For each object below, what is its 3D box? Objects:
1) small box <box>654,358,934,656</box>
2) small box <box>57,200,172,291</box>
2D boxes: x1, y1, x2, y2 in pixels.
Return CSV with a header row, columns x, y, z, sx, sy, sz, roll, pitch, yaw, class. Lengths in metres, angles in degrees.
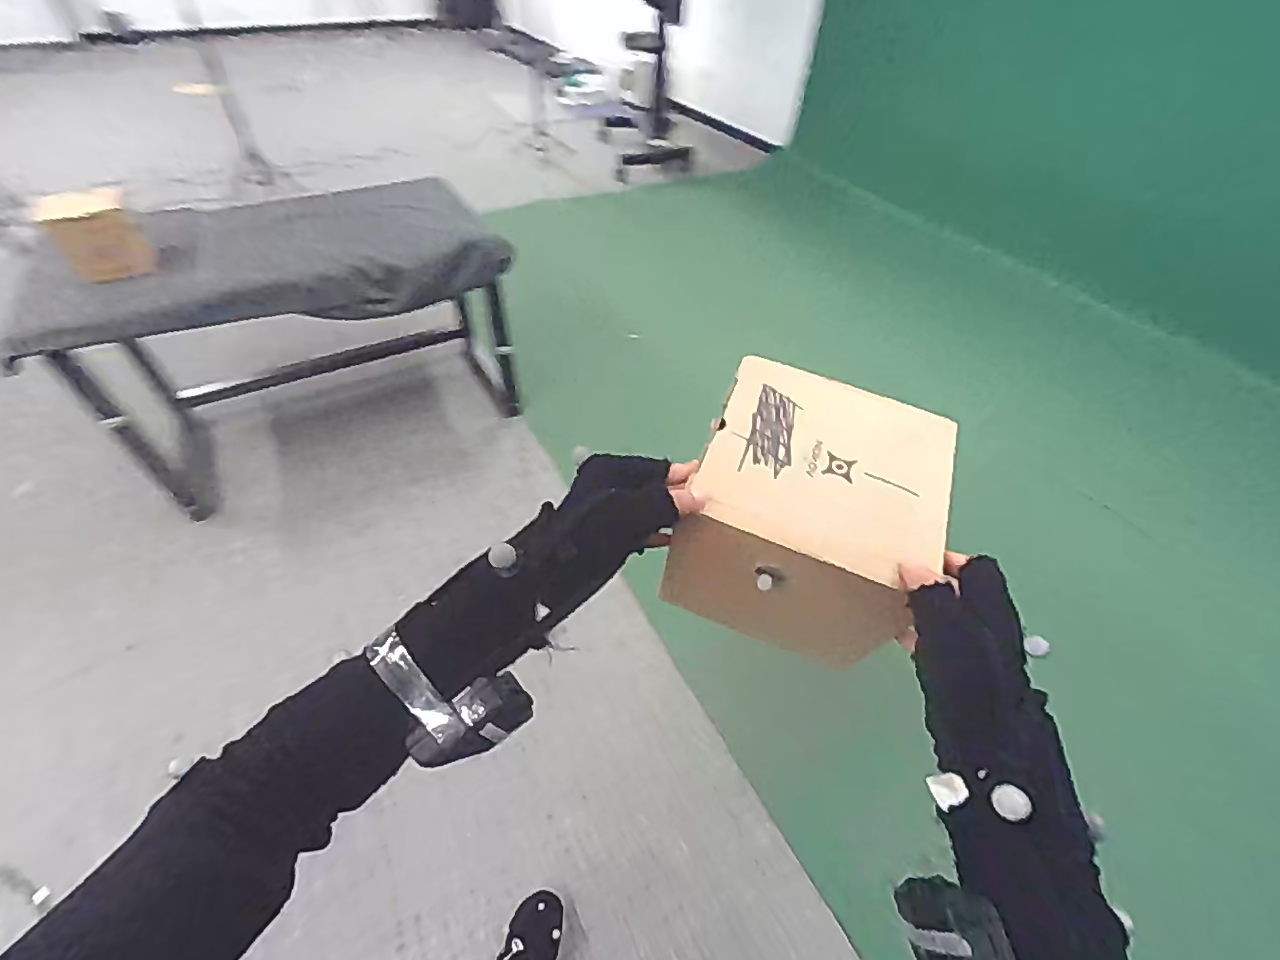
x,y,z,sx,sy,sz,roll,pitch,yaw,class
0.121,0.030,0.468,0.179,0.176,0.168,20,57,9,small box
-1.420,-0.633,1.473,0.168,0.176,0.179,-23,52,-22,small box
